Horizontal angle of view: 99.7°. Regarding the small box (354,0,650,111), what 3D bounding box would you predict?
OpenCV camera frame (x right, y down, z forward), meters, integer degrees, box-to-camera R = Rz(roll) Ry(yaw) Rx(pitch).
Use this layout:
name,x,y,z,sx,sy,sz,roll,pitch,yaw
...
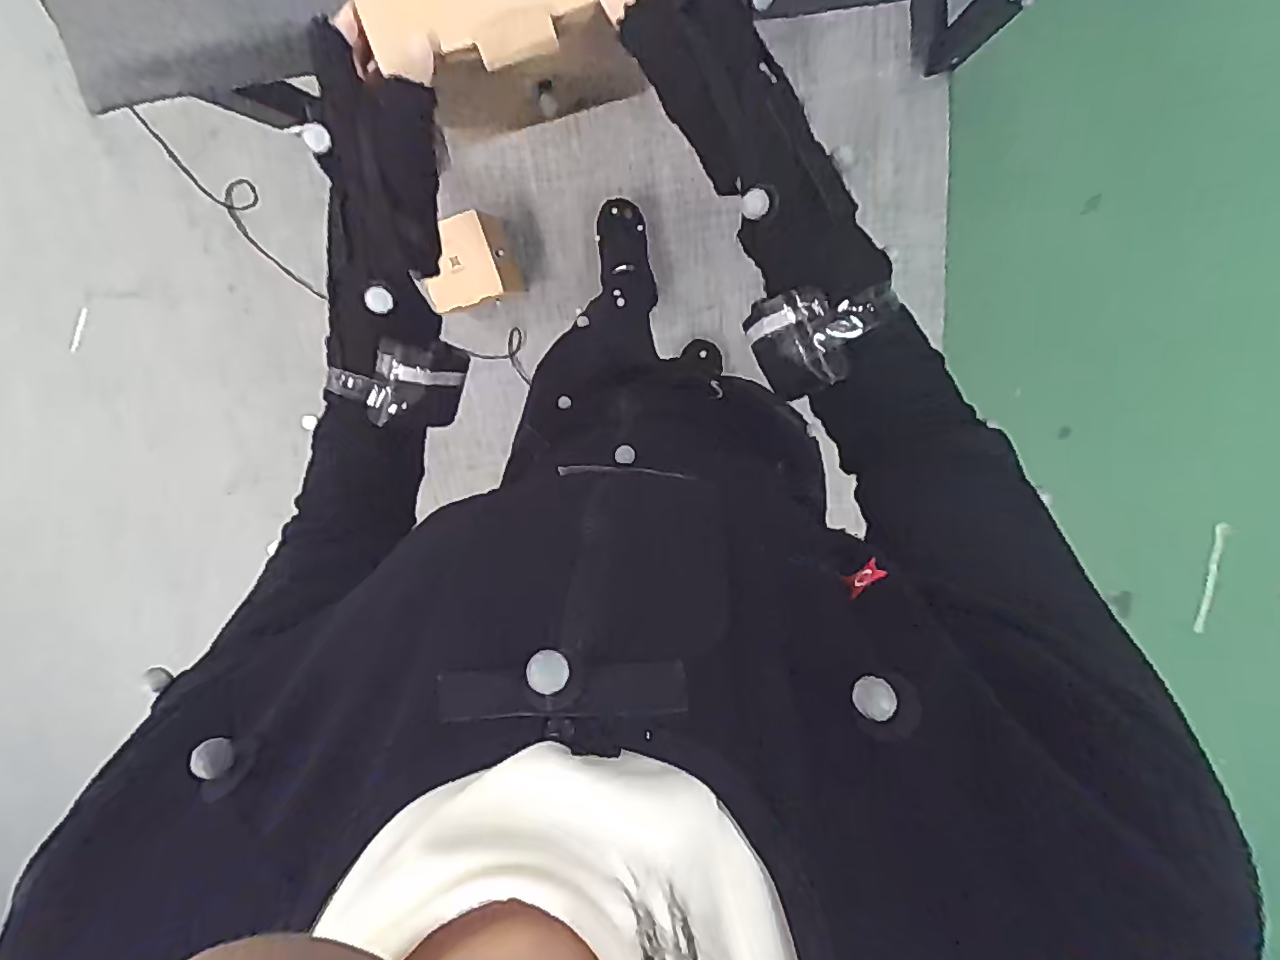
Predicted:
name,x,y,z,sx,sy,sz,roll,pitch,yaw
small box,-0.094,-0.367,0.345,0.168,0.176,0.179,-15,110,8
